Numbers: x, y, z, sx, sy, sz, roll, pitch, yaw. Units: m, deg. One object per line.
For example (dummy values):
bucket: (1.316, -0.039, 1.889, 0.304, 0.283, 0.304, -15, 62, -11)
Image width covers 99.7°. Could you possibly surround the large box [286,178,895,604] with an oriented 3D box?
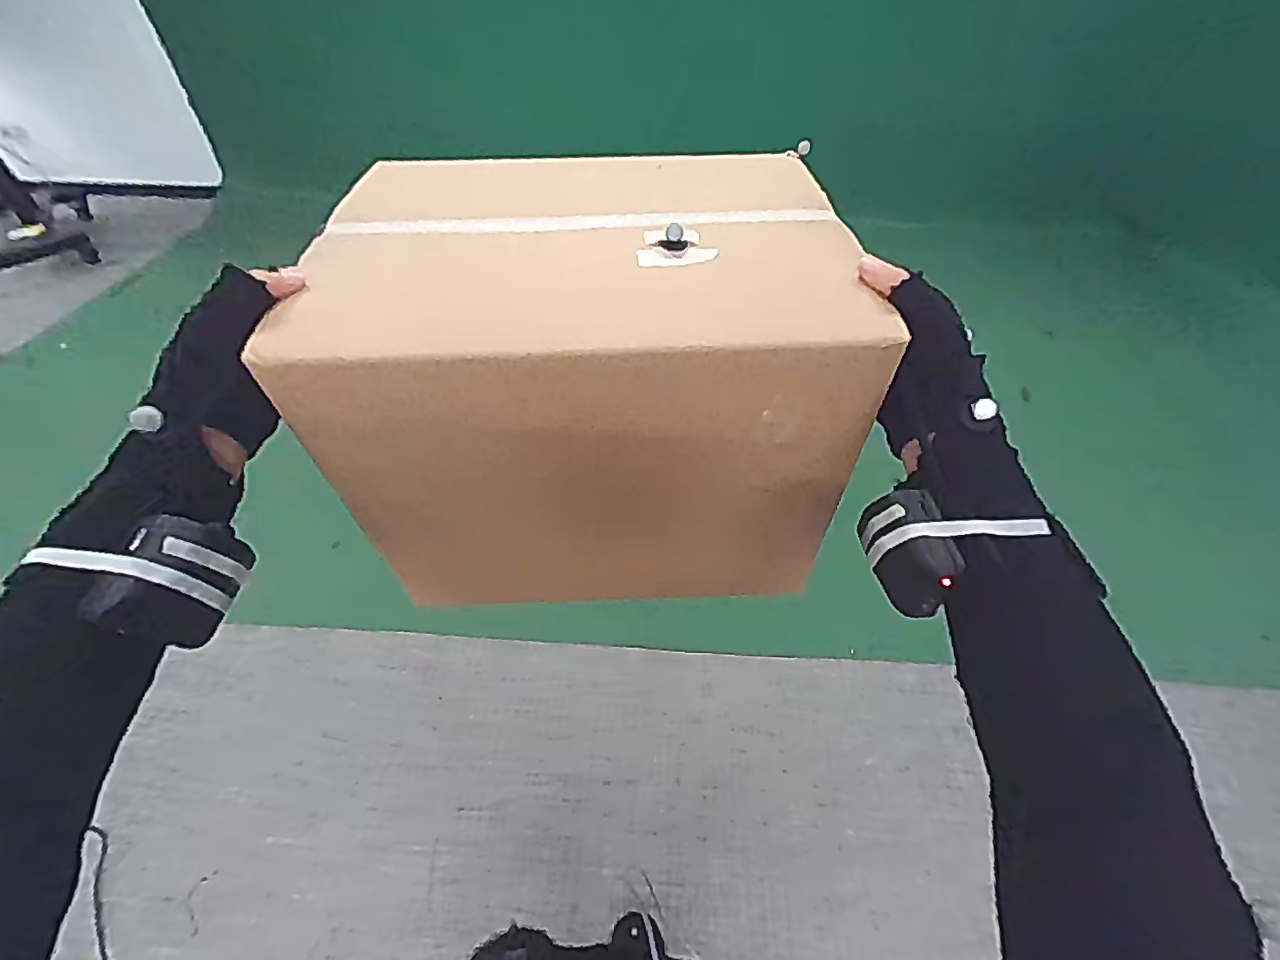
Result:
large box: (-0.038, -0.089, 0.556, 0.408, 0.320, 0.320, -2, 50, -2)
